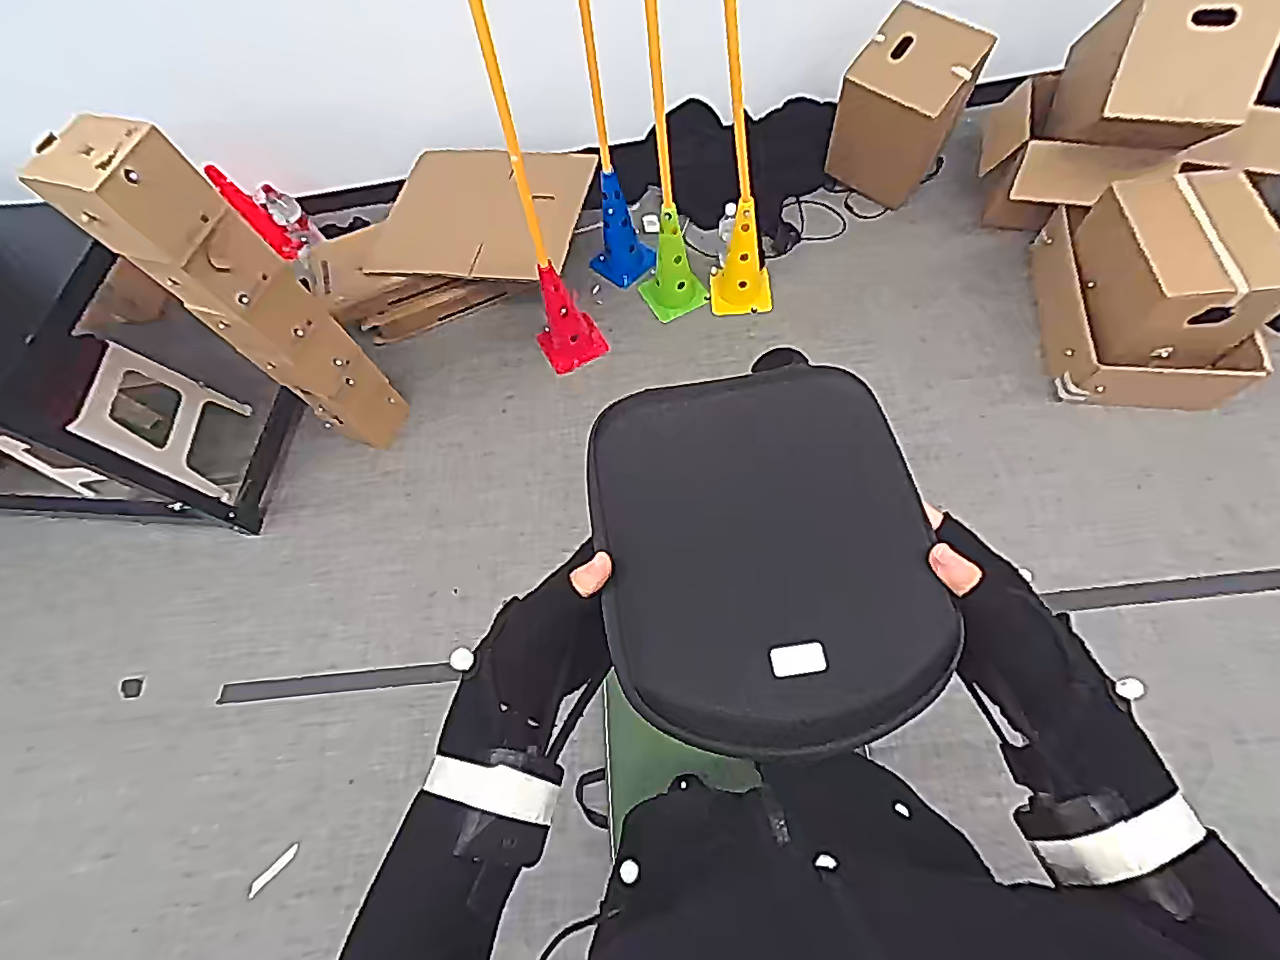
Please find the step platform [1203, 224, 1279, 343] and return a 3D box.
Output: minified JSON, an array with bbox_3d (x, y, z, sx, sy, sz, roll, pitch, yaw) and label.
[{"bbox_3d":[2.060,-0.695,1.581,0.684,0.204,0.286,-34,66,-8],"label":"step platform"}]
